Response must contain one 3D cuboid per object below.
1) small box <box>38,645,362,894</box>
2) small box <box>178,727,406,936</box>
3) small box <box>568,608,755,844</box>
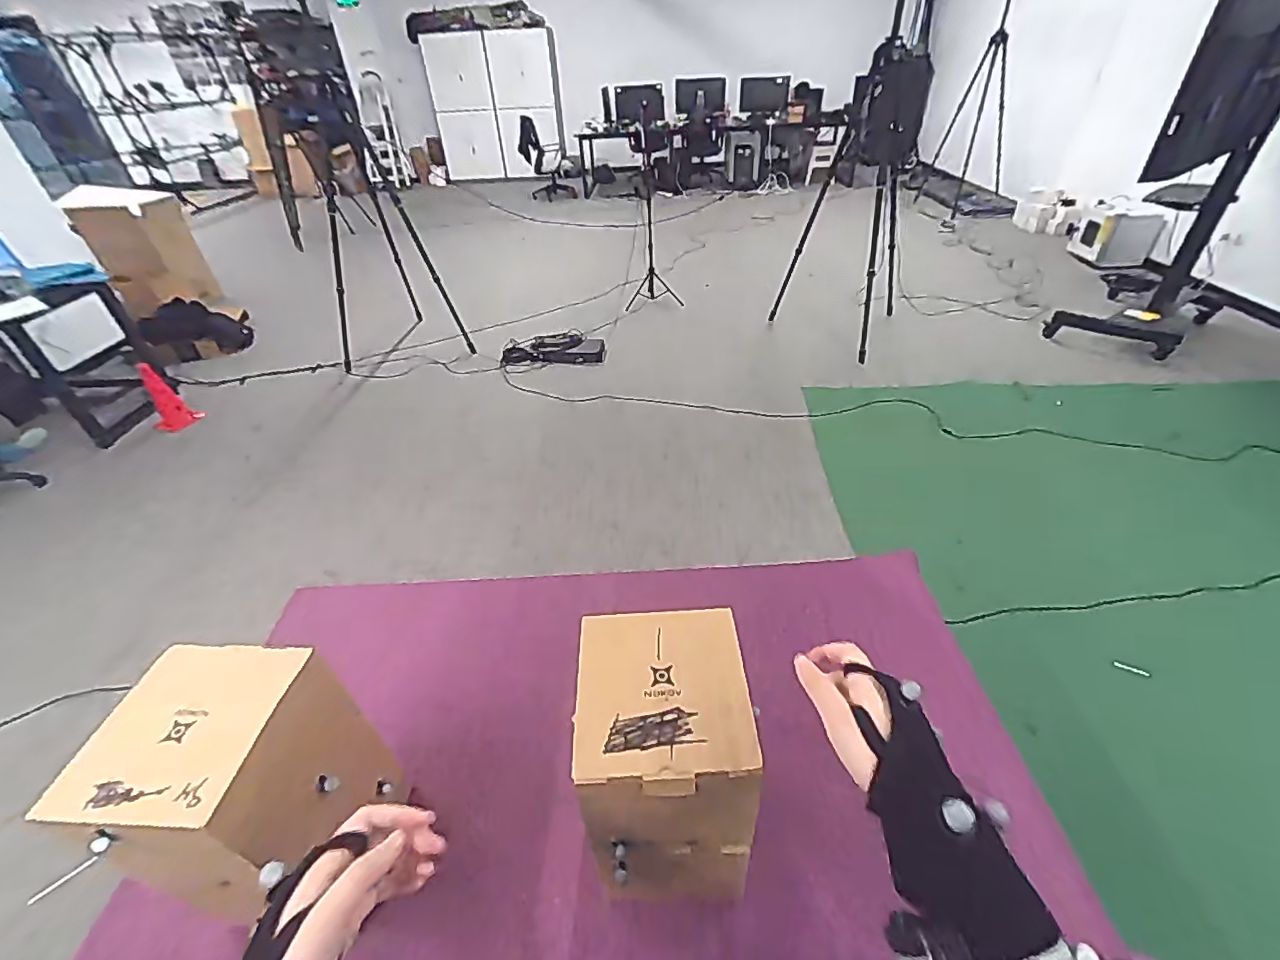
[{"bbox_3d":[-0.426,0.298,0.569,0.168,0.176,0.179,-1,37,6],"label":"small box"},{"bbox_3d":[-0.416,0.428,0.671,0.168,0.176,0.179,0,39,5],"label":"small box"},{"bbox_3d":[0.023,0.262,0.573,0.168,0.176,0.179,-3,36,1],"label":"small box"}]
